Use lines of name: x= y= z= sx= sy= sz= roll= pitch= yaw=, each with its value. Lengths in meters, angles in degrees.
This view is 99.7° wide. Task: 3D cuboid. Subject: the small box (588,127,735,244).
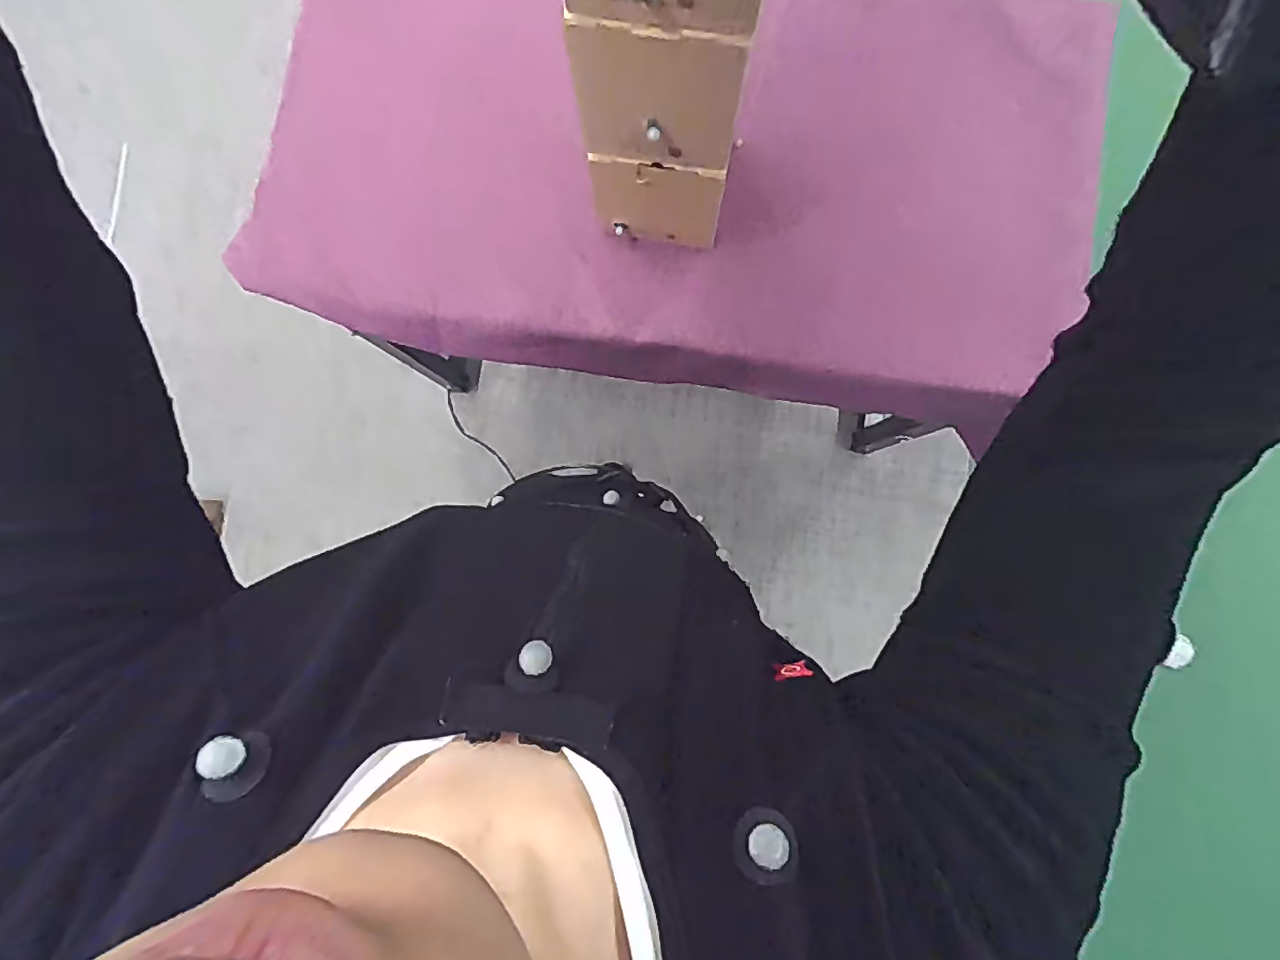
small box: x=0.036 y=-0.441 z=0.717 sx=0.168 sy=0.176 sz=0.179 roll=10 pitch=85 yaw=2

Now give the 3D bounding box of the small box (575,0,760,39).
small box: x=0.028 y=-0.481 z=0.392 sx=0.168 sy=0.176 sz=0.179 roll=9 pitch=86 yaw=3

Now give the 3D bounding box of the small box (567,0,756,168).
small box: x=0.032 y=-0.463 z=0.554 sx=0.168 sy=0.176 sz=0.179 roll=9 pitch=86 yaw=3
